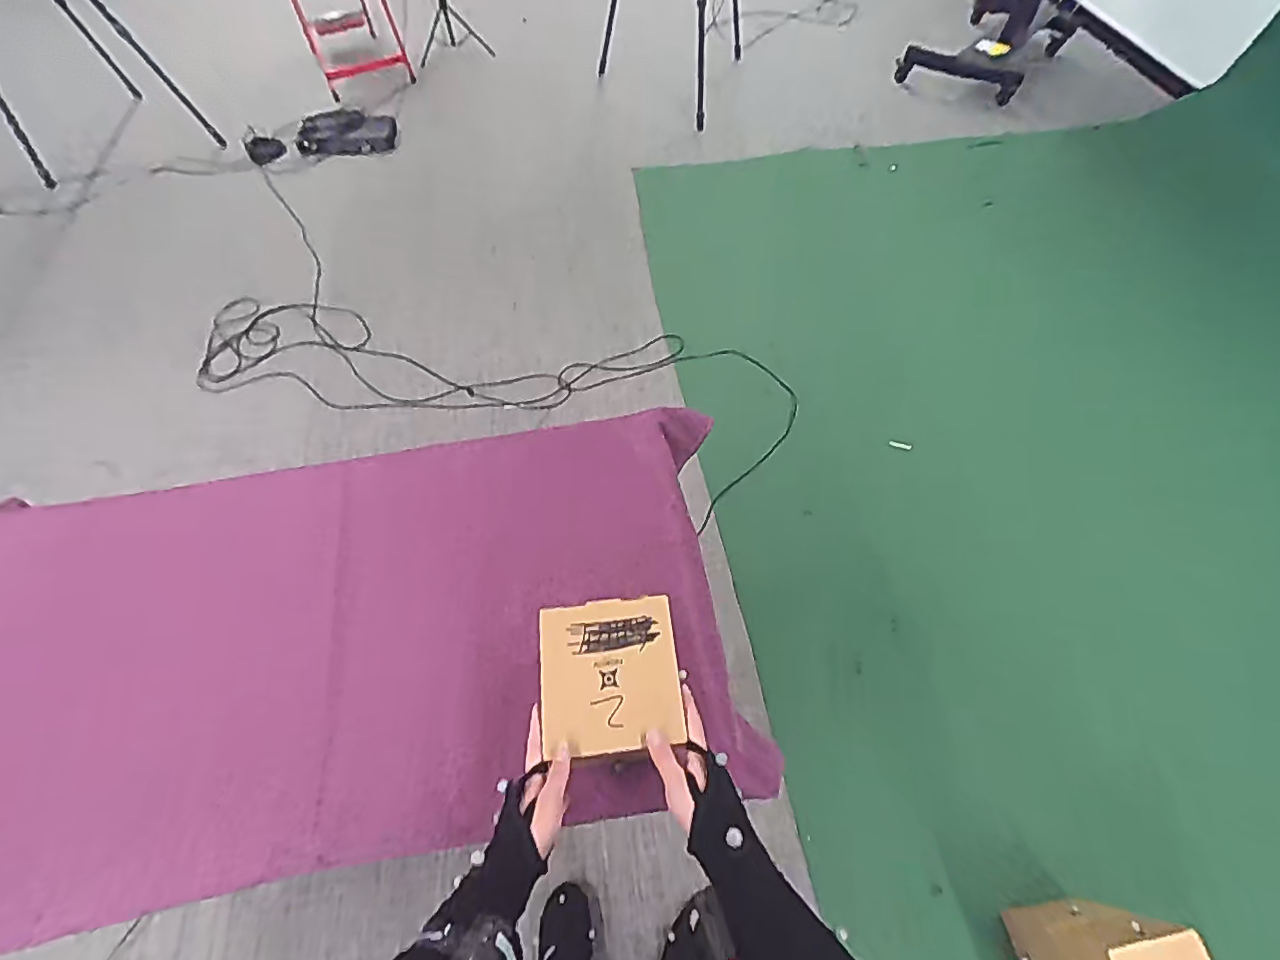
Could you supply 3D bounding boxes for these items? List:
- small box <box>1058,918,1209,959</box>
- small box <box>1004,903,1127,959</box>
[{"bbox_3d":[0.911,0.924,0.979,0.179,0.176,0.168,-8,60,-5],"label":"small box"},{"bbox_3d":[0.912,1.003,1.120,0.179,0.176,0.168,-9,60,-3],"label":"small box"}]
